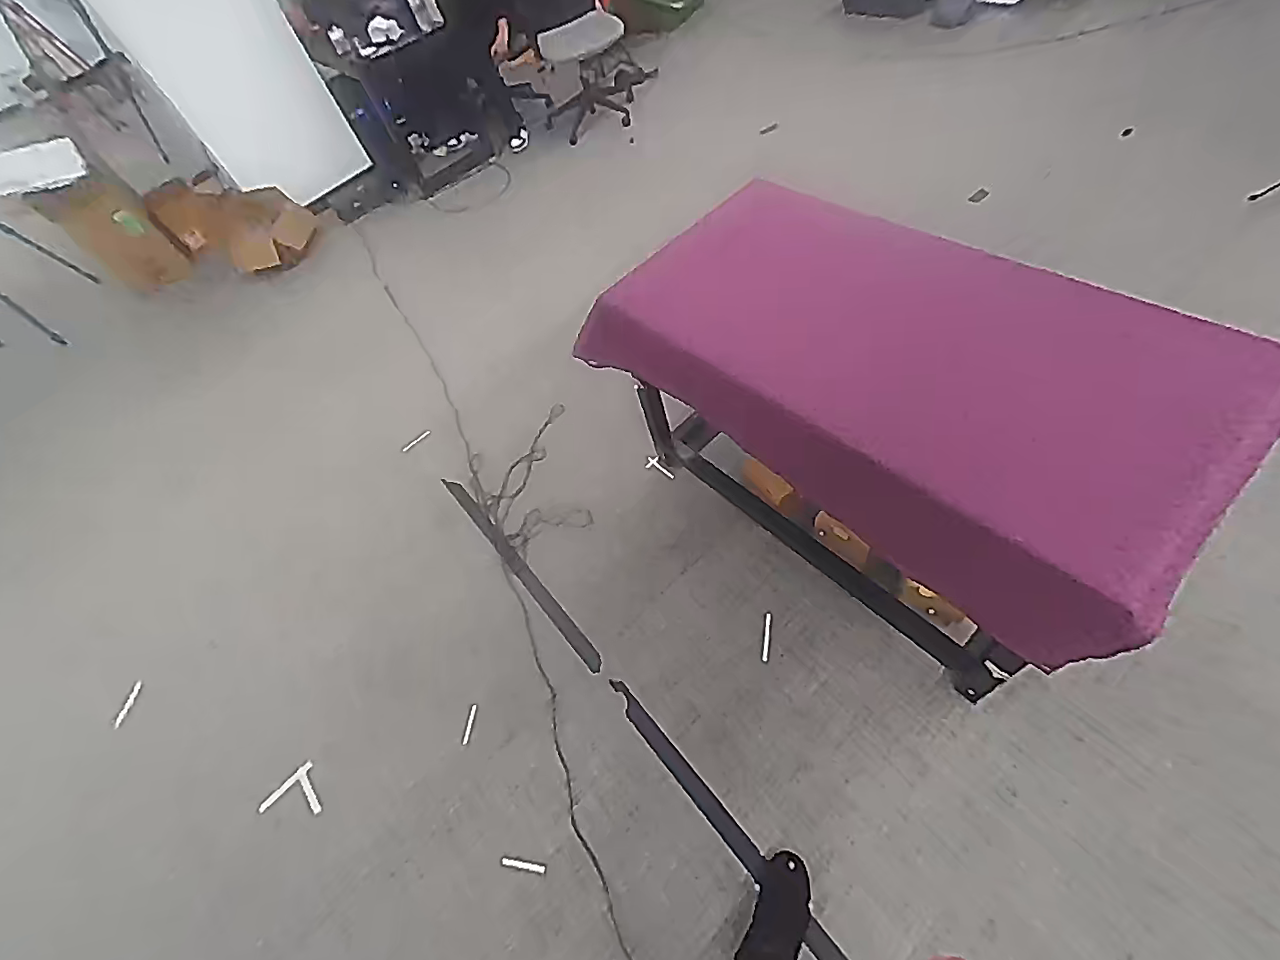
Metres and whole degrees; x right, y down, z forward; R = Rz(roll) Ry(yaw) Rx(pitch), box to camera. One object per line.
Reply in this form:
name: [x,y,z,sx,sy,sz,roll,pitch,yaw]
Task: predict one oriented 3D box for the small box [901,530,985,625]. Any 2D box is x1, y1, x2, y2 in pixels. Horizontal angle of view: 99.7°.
small box: [0.807,0.263,1.450,0.168,0.176,0.179,10,59,22]
